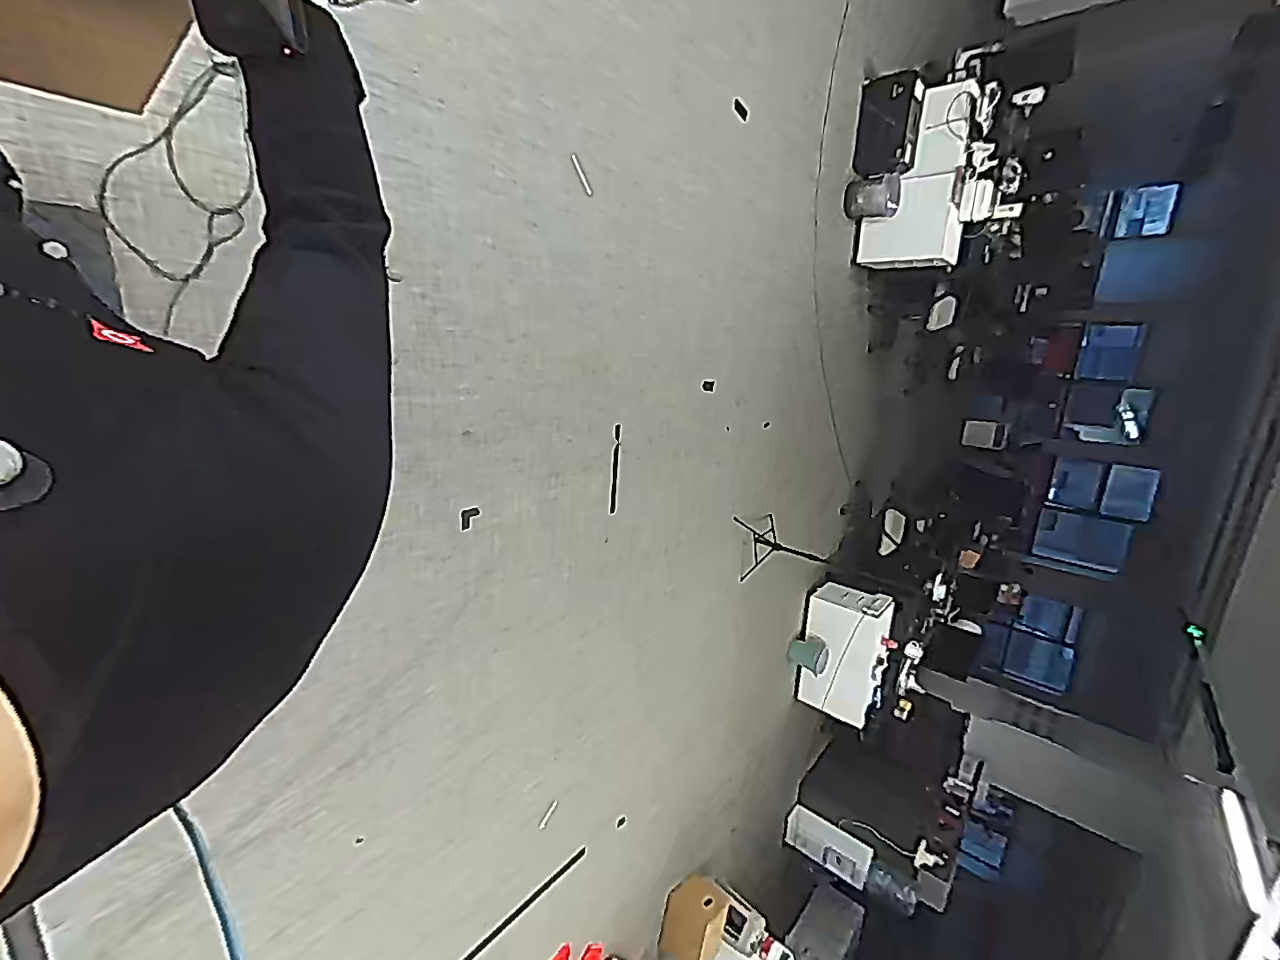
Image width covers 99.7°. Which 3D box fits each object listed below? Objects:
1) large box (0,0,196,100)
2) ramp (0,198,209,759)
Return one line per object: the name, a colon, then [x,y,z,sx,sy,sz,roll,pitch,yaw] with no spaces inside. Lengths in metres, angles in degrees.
large box: [-0.519,-0.468,0.270,0.408,0.320,0.320,-15,110,-48]
ramp: [-1.168,0.005,0.957,0.509,0.206,0.991,-16,113,-46]
